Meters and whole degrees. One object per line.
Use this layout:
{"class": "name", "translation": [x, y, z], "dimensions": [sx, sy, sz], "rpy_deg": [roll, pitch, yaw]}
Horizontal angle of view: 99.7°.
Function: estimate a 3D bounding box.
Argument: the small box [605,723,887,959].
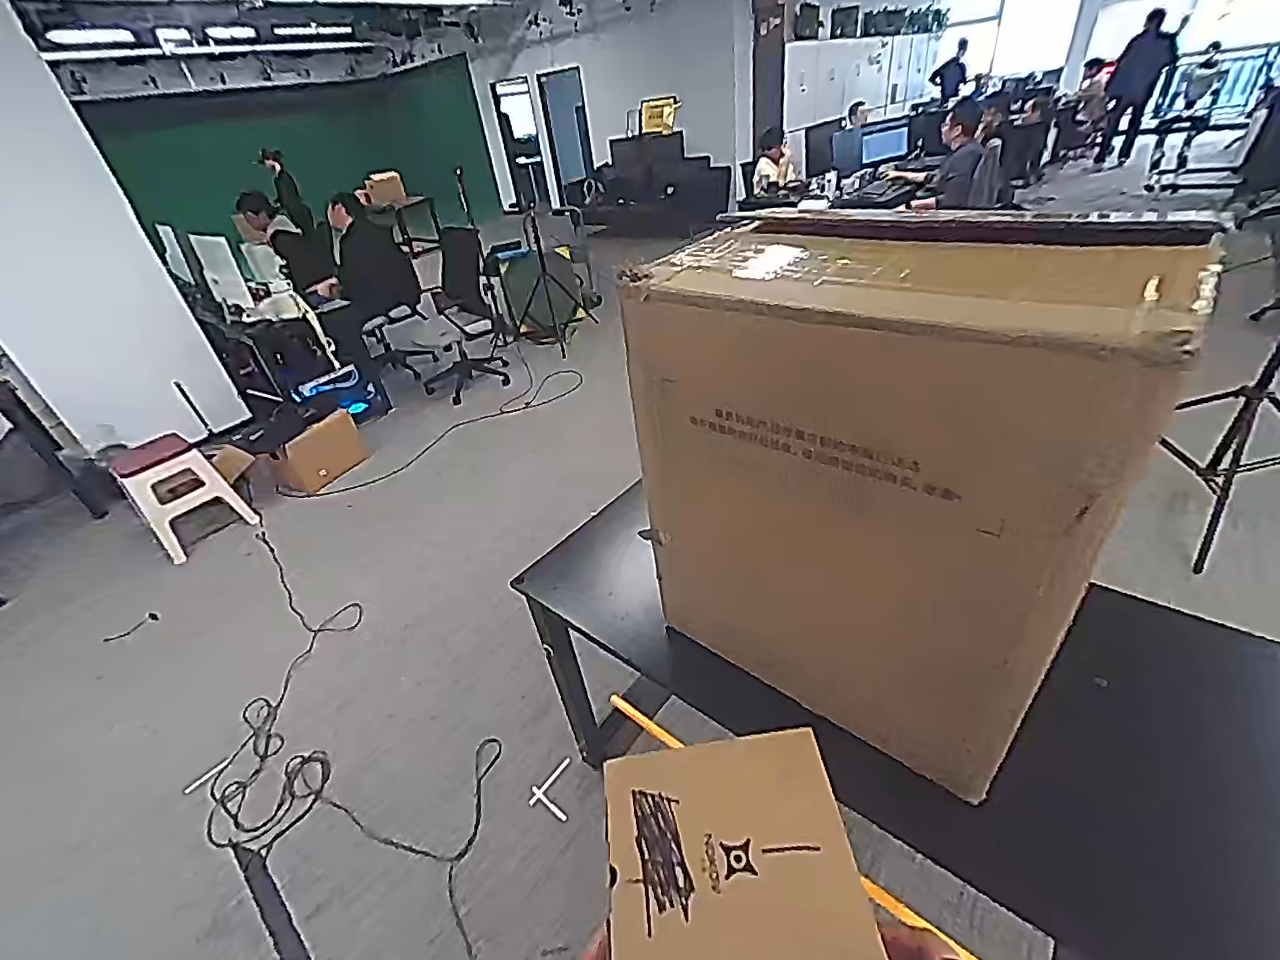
{"class": "small box", "translation": [0.075, 0.326, 0.434], "dimensions": [0.179, 0.176, 0.168], "rpy_deg": [-9, 38, 3]}
